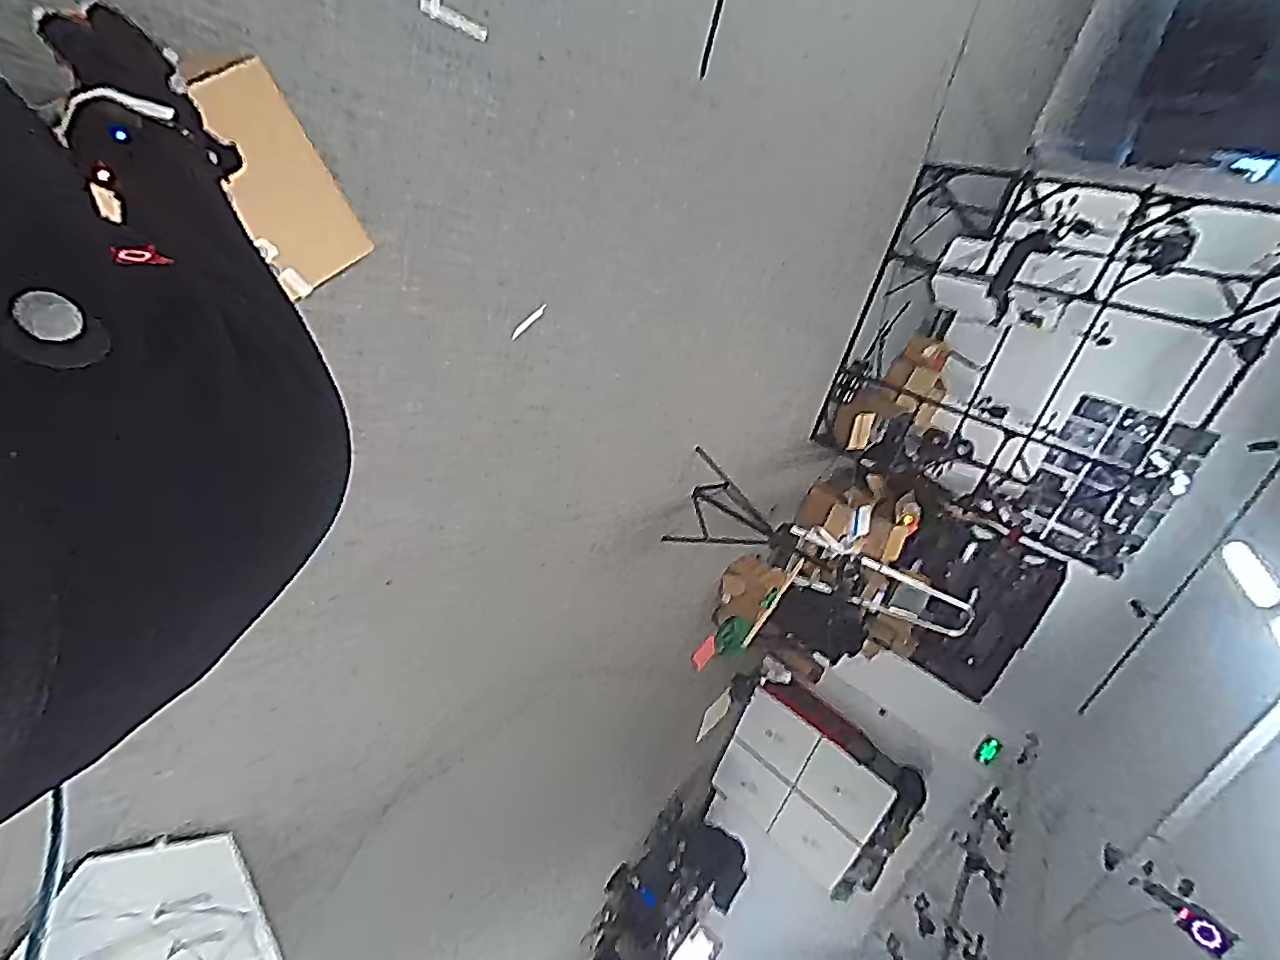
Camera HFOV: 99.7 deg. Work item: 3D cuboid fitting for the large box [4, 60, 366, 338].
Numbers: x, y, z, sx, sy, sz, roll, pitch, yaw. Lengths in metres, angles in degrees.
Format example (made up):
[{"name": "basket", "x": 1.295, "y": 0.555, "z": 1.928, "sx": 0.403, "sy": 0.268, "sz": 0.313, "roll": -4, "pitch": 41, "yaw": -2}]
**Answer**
[{"name": "large box", "x": -0.788, "y": -0.509, "z": 0.967, "sx": 0.320, "sy": 0.408, "sz": 0.320, "roll": -46, "pitch": 145, "yaw": -22}]
